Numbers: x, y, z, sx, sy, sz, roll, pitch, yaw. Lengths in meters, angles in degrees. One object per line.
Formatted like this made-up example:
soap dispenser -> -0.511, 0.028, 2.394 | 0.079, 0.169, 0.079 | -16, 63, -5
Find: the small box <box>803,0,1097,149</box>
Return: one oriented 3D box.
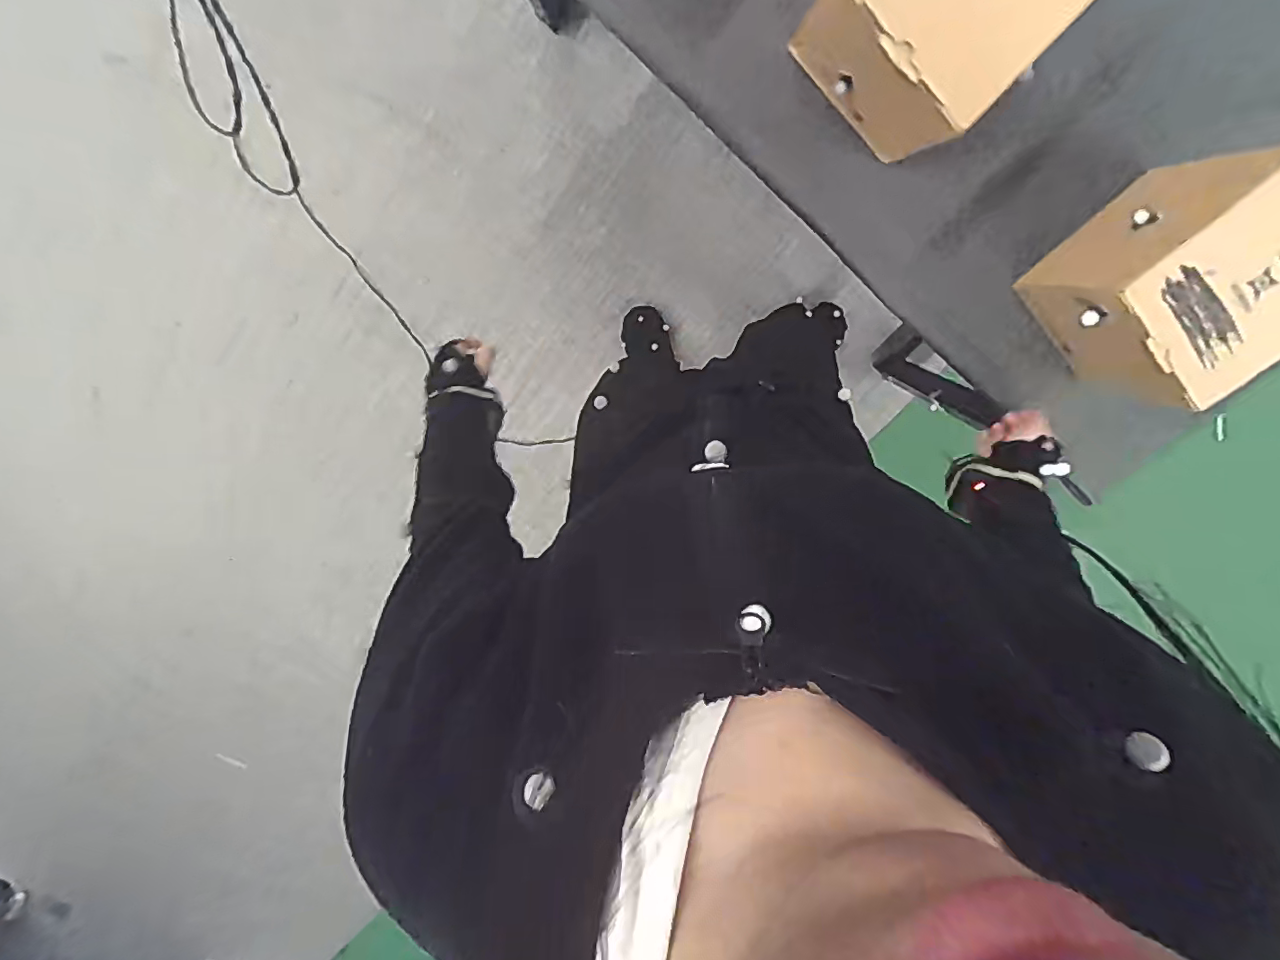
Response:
small box -> 0.277, -0.438, 0.482 | 0.168, 0.176, 0.179 | 39, 108, -15
